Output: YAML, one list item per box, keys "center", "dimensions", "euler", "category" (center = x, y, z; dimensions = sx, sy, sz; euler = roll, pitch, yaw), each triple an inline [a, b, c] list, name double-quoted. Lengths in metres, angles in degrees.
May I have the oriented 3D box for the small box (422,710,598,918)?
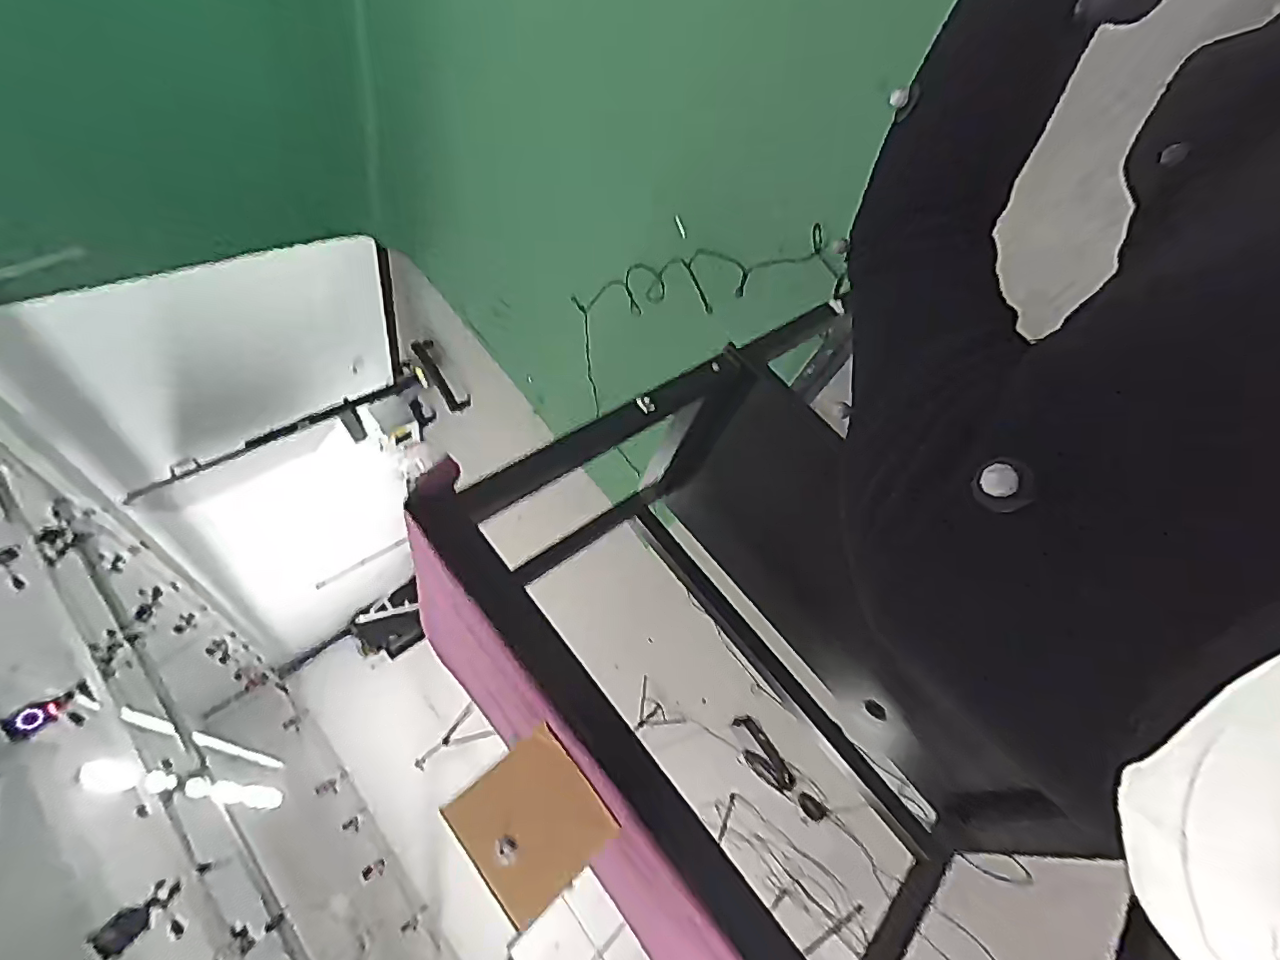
- center: [-0.185, 0.463, 0.775]
  dimensions: [0.179, 0.176, 0.168]
  euler: [49, 147, 12]
  category: "small box"
